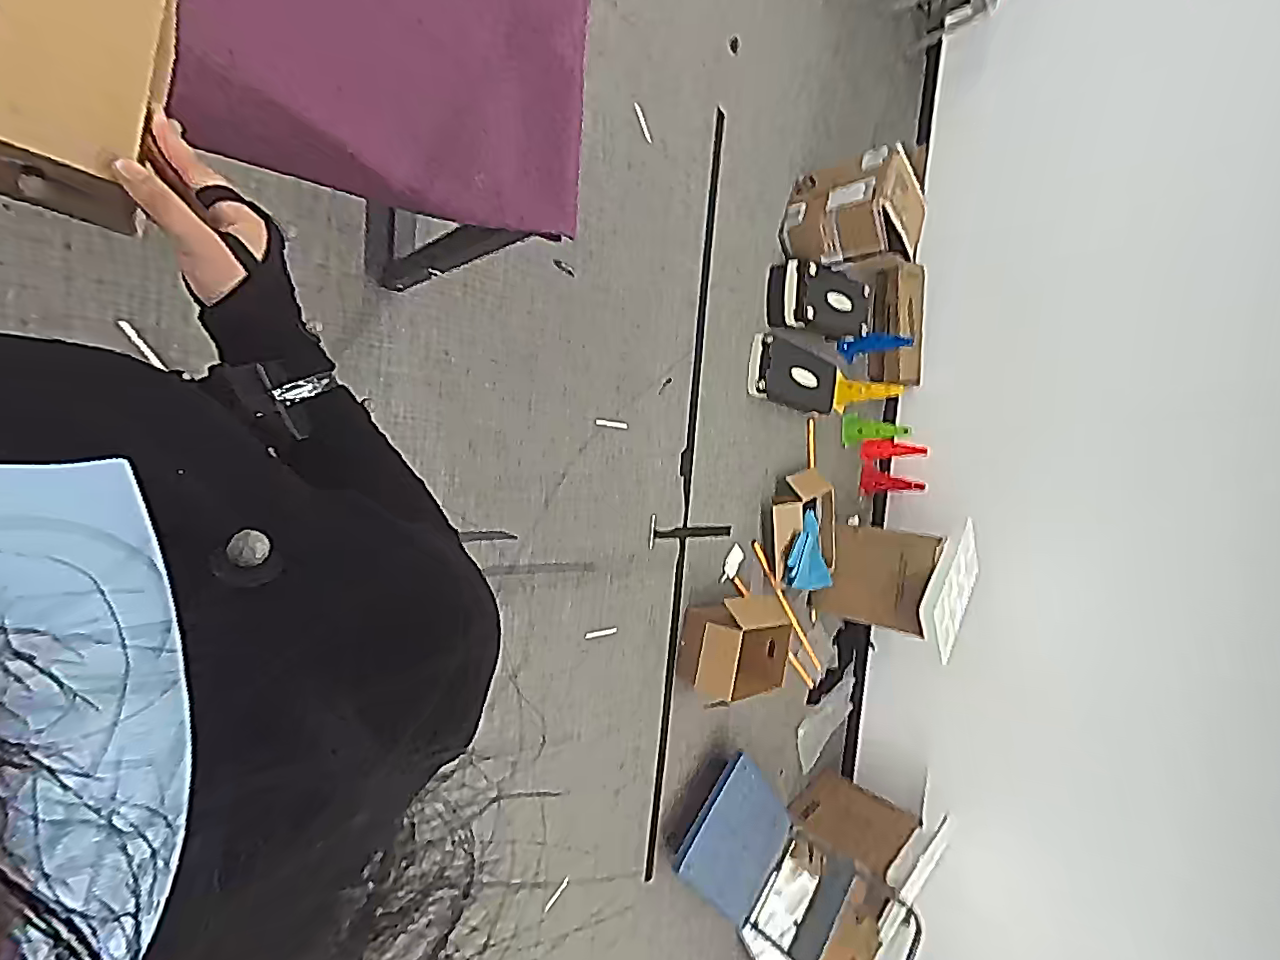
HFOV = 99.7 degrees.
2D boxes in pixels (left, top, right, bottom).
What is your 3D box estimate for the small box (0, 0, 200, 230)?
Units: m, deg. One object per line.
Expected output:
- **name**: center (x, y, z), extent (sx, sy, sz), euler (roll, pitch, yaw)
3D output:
- **small box**: center (-0.418, -0.287, 0.355), extent (0.179, 0.176, 0.168), euler (12, 89, -42)
